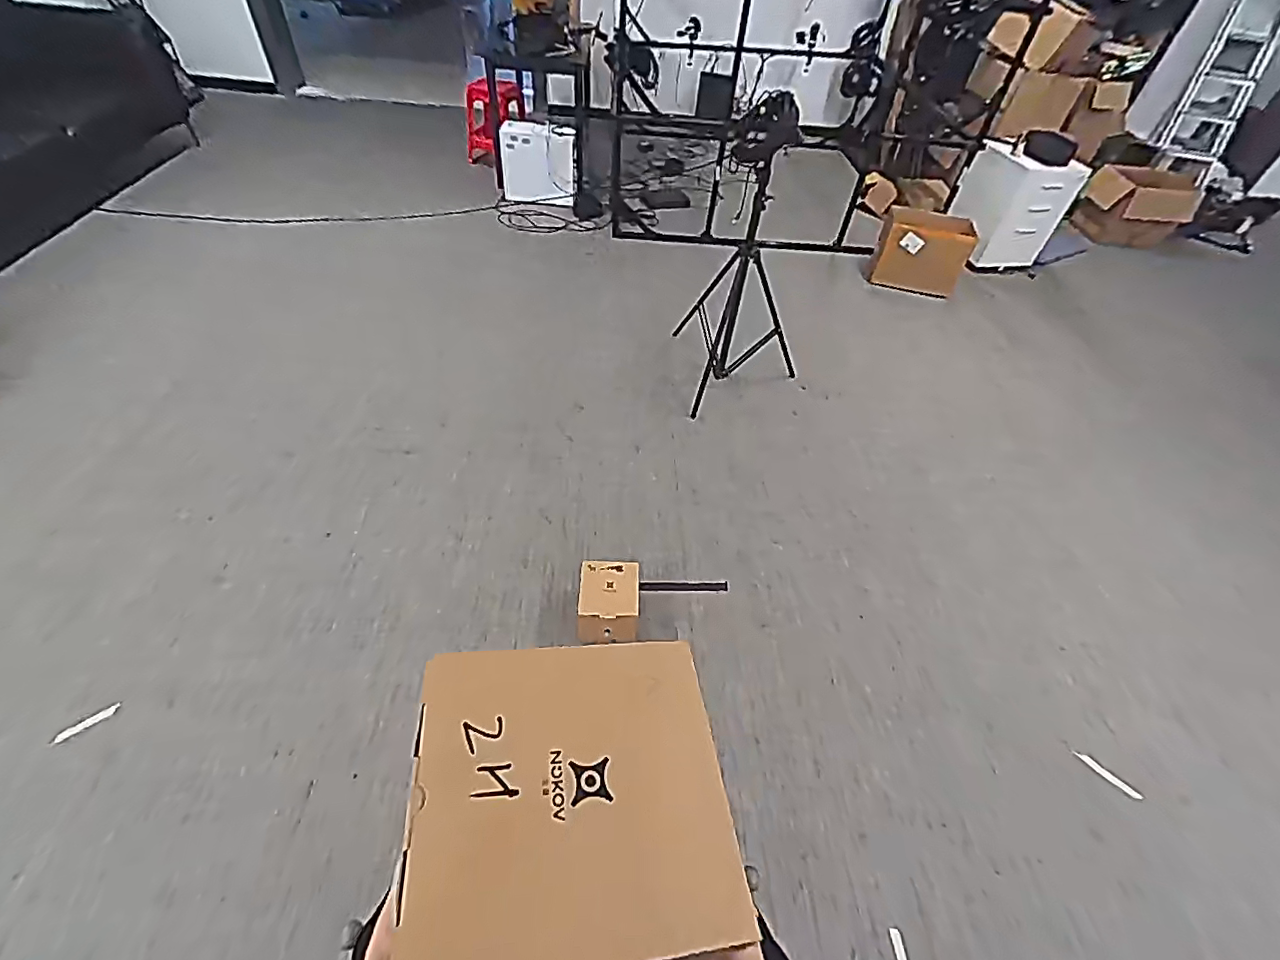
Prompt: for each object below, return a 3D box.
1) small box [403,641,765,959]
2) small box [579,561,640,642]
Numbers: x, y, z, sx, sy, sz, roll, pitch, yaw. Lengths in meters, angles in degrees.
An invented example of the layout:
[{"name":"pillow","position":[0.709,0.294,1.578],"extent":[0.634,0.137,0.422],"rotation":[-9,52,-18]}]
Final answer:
[{"name":"small box","position":[-0.047,0.225,0.360],"extent":[0.179,0.176,0.168],"rotation":[1,44,-14]},{"name":"small box","position":[-0.086,0.356,1.567],"extent":[0.168,0.176,0.179],"rotation":[3,49,-3]}]
